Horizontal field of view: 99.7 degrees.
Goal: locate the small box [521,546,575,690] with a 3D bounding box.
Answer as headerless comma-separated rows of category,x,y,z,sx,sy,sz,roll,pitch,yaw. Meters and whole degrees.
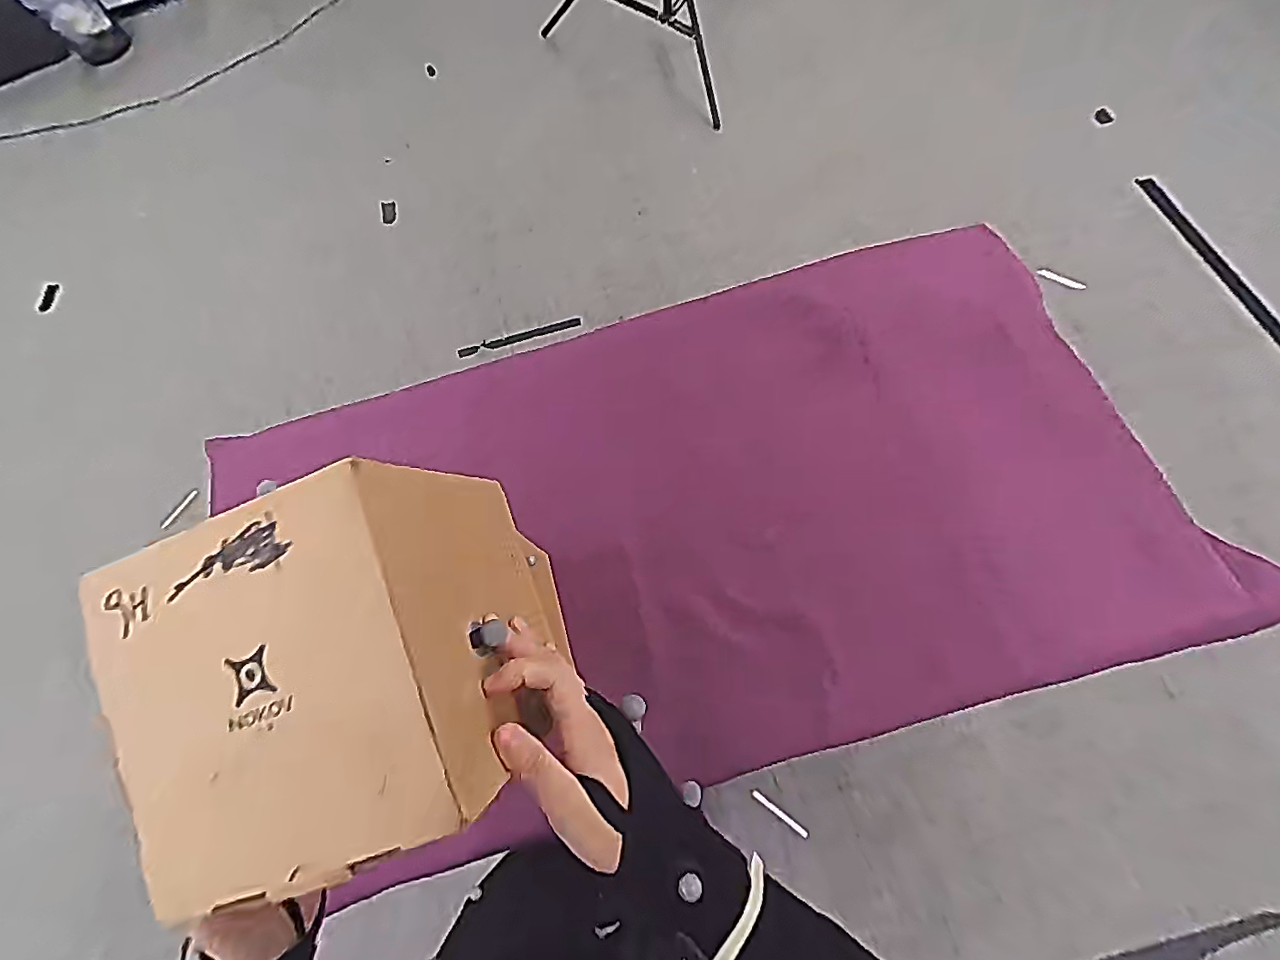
small box,-0.183,0.173,0.605,0.168,0.176,0.179,-18,69,0

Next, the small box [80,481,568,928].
small box,-0.163,0.108,0.333,0.168,0.176,0.179,-23,85,8
